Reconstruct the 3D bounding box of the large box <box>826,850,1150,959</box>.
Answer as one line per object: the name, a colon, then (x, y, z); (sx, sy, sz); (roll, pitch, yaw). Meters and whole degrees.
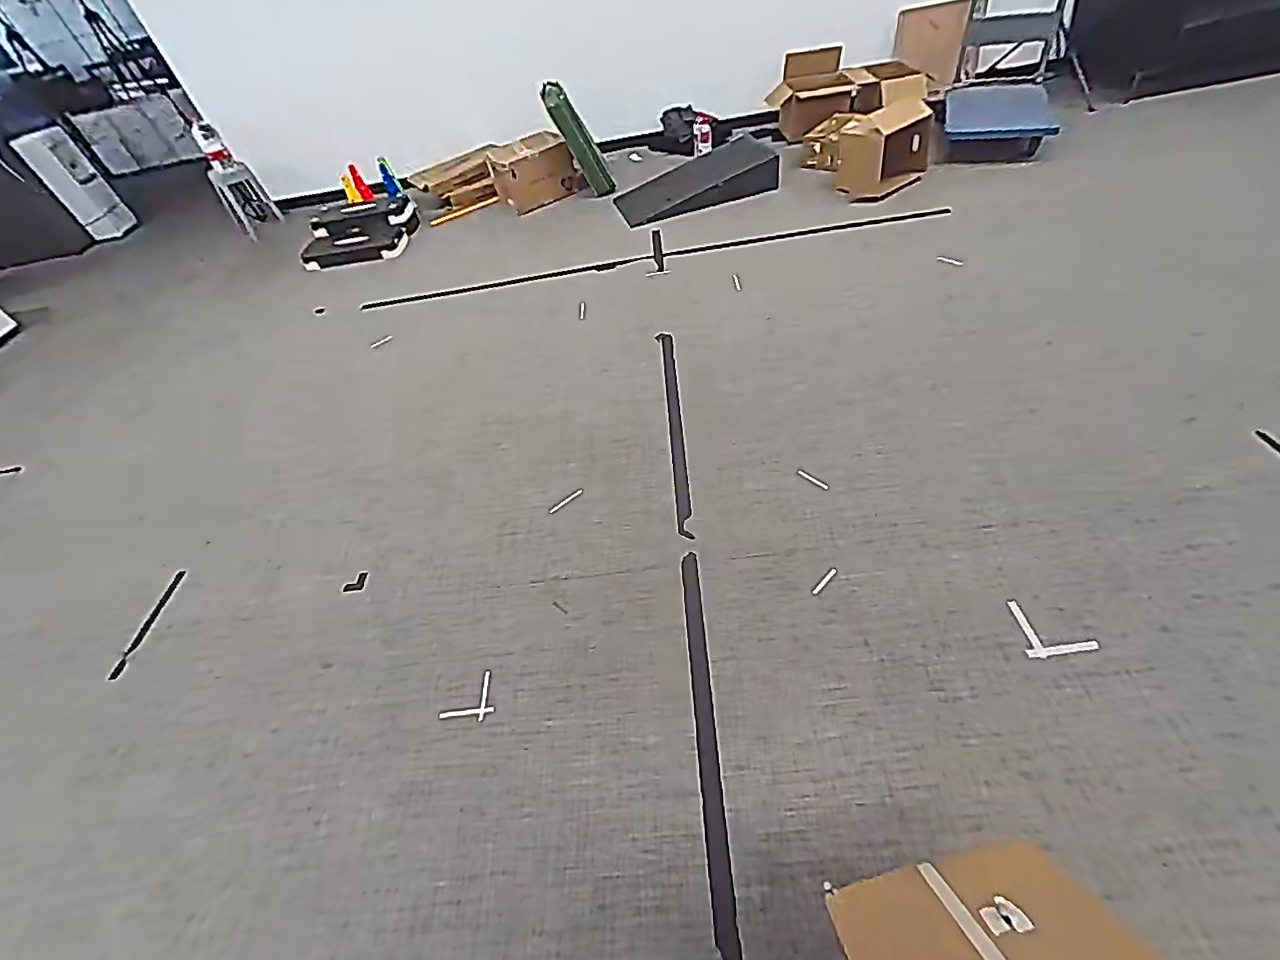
large box: (0.458, 0.713, 0.595); (0.320, 0.408, 0.320); (-16, 82, 1)
